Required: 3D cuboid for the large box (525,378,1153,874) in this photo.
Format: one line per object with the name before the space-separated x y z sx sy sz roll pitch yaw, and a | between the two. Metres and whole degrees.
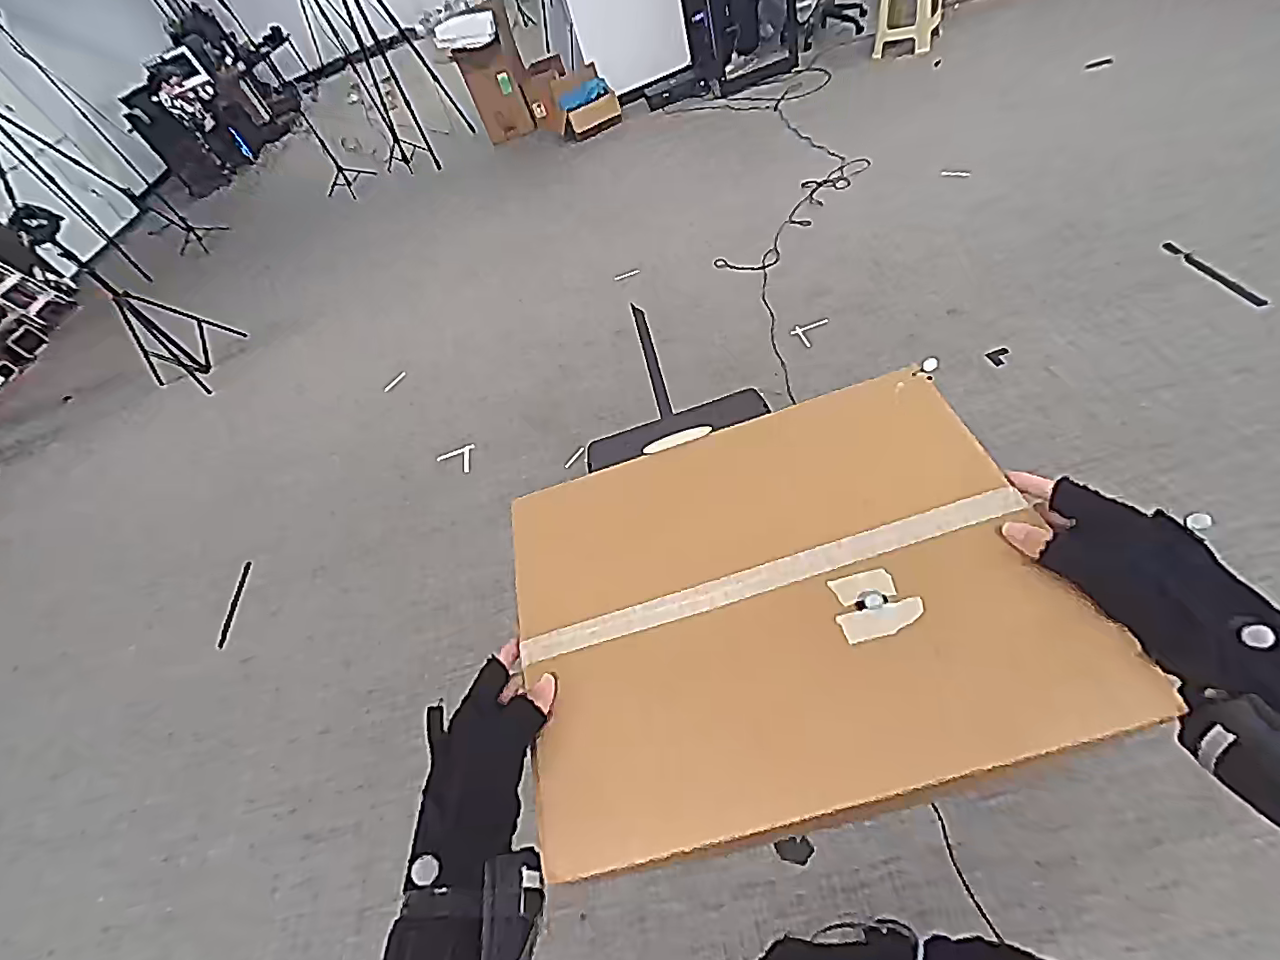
large box | 0.138 0.165 0.555 0.408 0.320 0.320 -19 54 4
